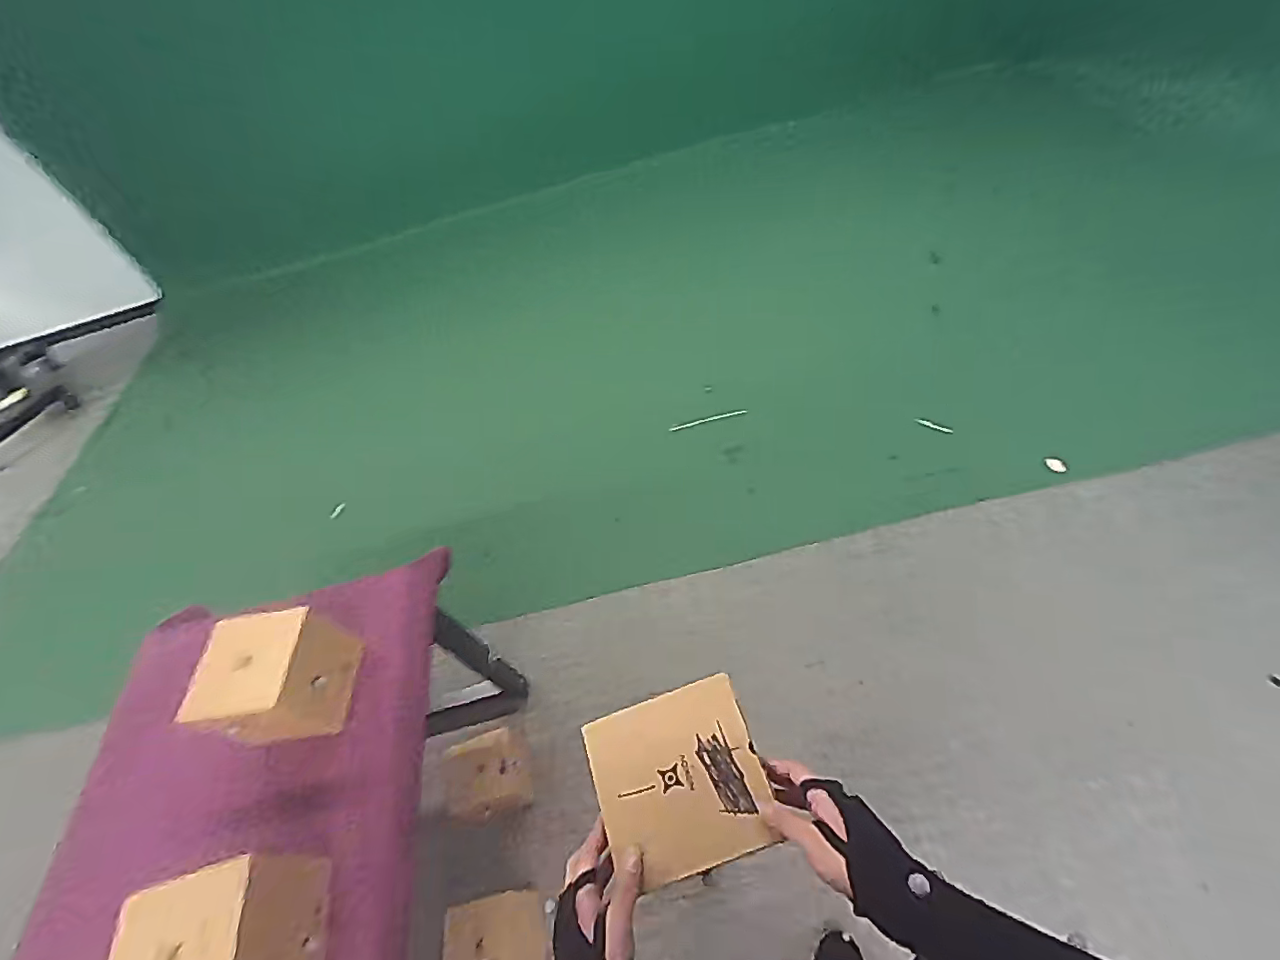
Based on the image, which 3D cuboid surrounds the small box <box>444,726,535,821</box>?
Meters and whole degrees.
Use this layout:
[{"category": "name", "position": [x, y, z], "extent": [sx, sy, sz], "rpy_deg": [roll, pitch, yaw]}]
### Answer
[{"category": "small box", "position": [-0.403, 0.789, 1.448], "extent": [0.179, 0.176, 0.168], "rpy_deg": [-20, 51, -1]}]

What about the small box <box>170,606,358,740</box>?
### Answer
[{"category": "small box", "position": [-0.620, 0.333, 0.922], "extent": [0.179, 0.176, 0.168], "rpy_deg": [-11, 52, 8]}]

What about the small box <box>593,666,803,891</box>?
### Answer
[{"category": "small box", "position": [0.064, 0.335, 0.613], "extent": [0.179, 0.176, 0.168], "rpy_deg": [-19, 55, 0]}]

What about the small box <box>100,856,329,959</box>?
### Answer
[{"category": "small box", "position": [-0.541, 0.606, 0.692], "extent": [0.179, 0.176, 0.168], "rpy_deg": [-19, 52, 1]}]
